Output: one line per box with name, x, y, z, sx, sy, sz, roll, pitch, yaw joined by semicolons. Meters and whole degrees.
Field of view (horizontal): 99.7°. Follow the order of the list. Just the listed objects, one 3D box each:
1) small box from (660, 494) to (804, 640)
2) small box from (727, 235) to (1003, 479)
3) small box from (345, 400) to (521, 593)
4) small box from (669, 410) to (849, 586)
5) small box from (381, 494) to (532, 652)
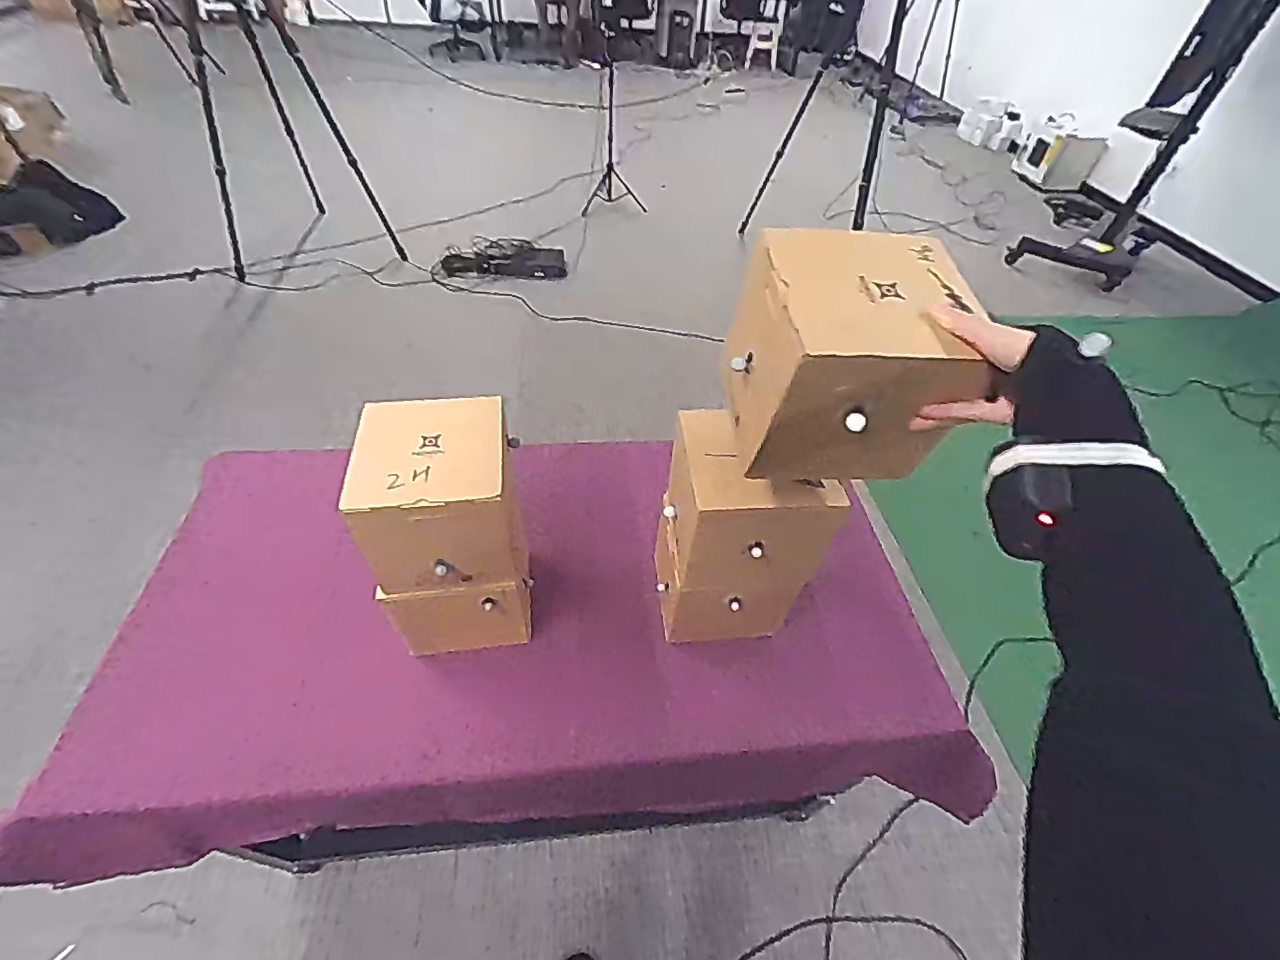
small box;0.126;0.134;0.829;0.179;0.176;0.168;-1;49;-6
small box;0.188;-0.111;0.522;0.179;0.176;0.168;-1;56;-6
small box;-0.244;0.020;0.684;0.168;0.176;0.179;-5;48;-9
small box;0.139;0.026;0.706;0.179;0.176;0.168;-2;49;-5
small box;-0.257;0.138;0.799;0.179;0.176;0.168;-4;48;-9
